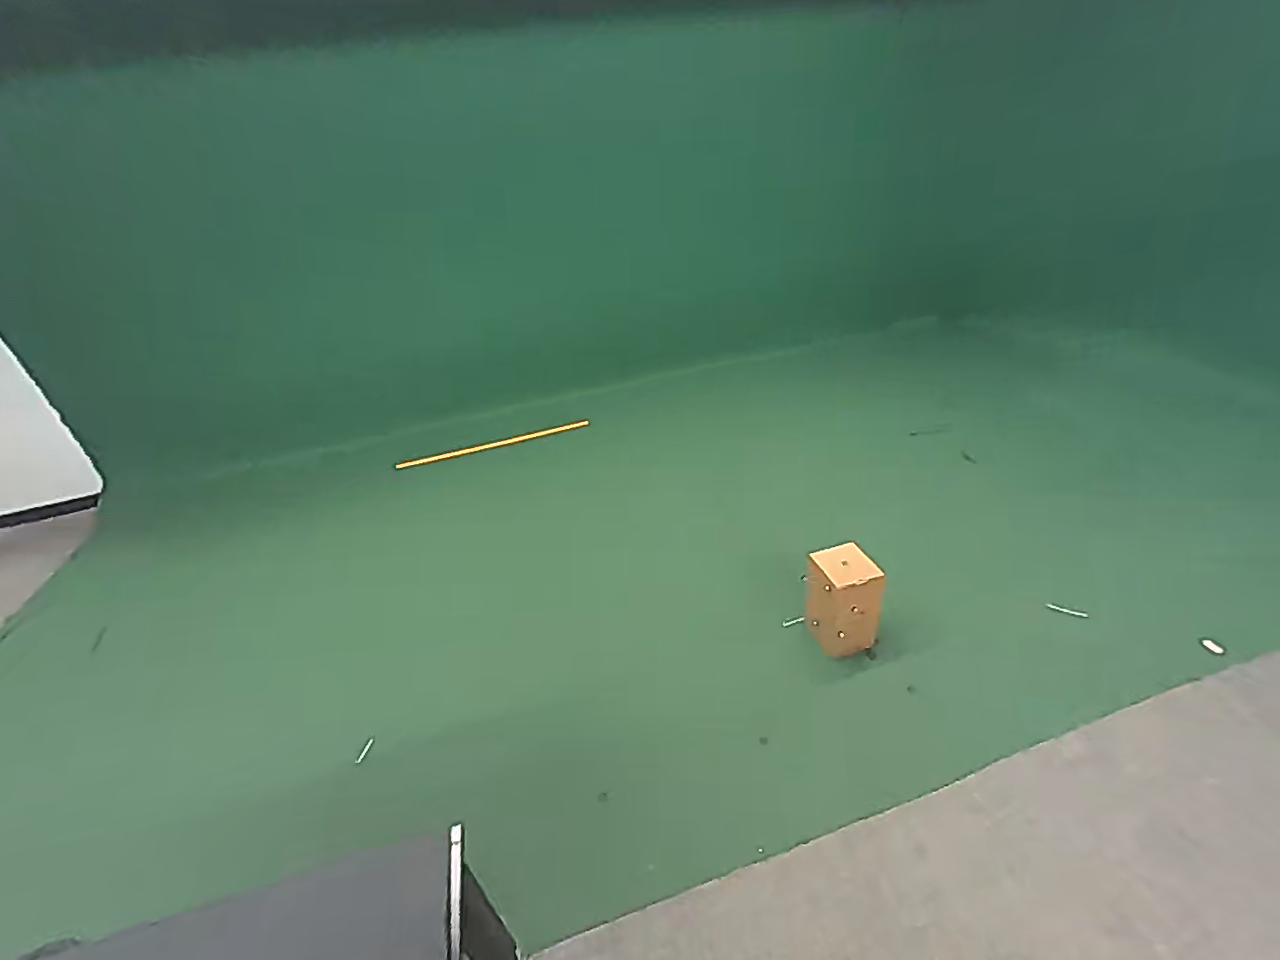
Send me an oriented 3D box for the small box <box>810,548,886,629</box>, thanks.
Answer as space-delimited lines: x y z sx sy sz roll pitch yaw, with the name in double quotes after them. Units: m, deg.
0.667 0.353 1.759 0.168 0.176 0.179 -13 32 -9 "small box"
